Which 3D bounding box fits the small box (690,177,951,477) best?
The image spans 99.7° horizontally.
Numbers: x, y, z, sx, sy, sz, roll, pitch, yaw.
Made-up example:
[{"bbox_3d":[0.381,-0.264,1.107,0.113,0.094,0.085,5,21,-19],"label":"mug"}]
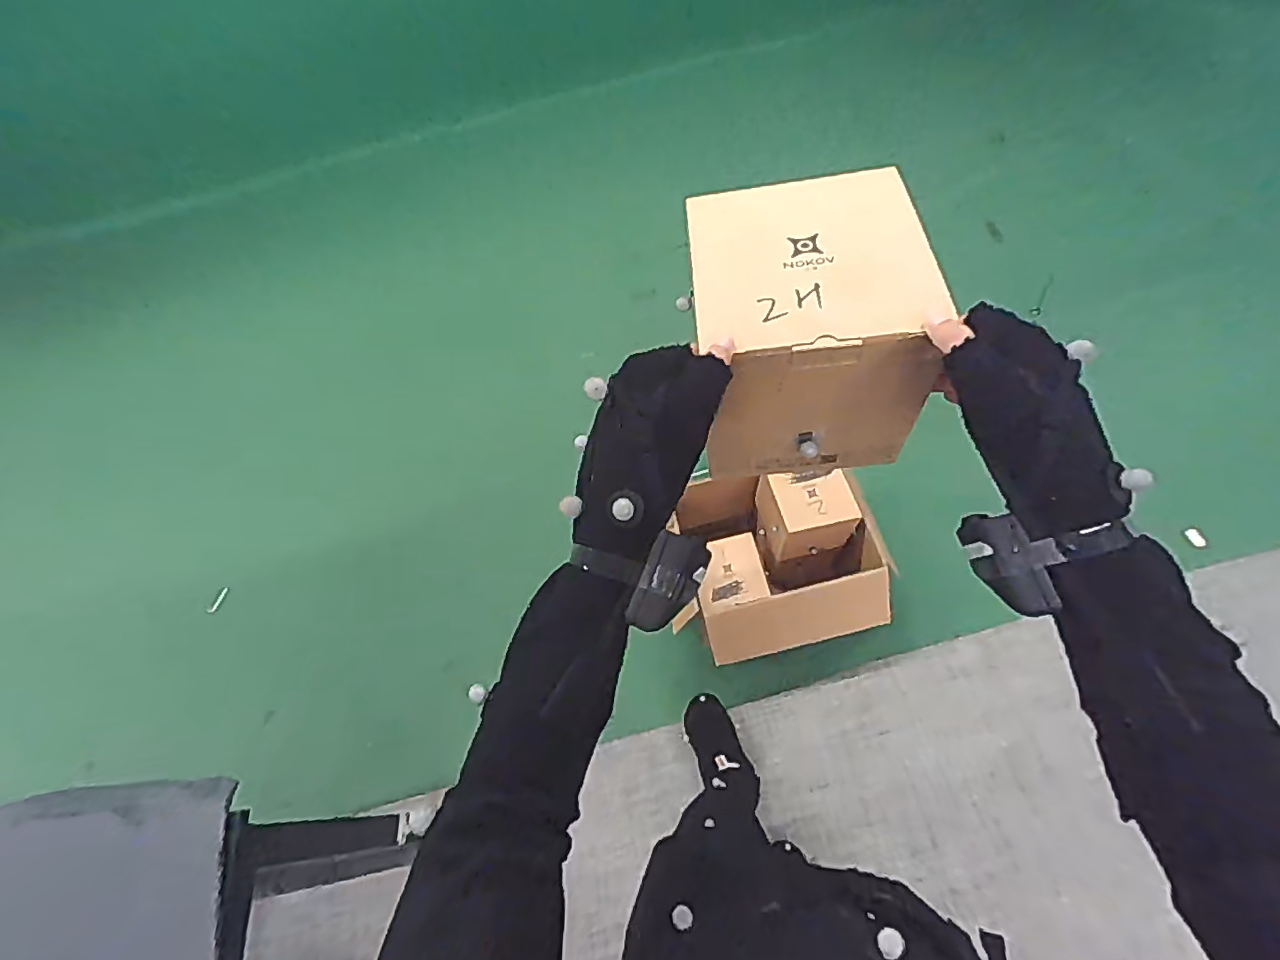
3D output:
[{"bbox_3d":[0.132,-0.122,0.466,0.168,0.176,0.179,-5,59,8],"label":"small box"}]
